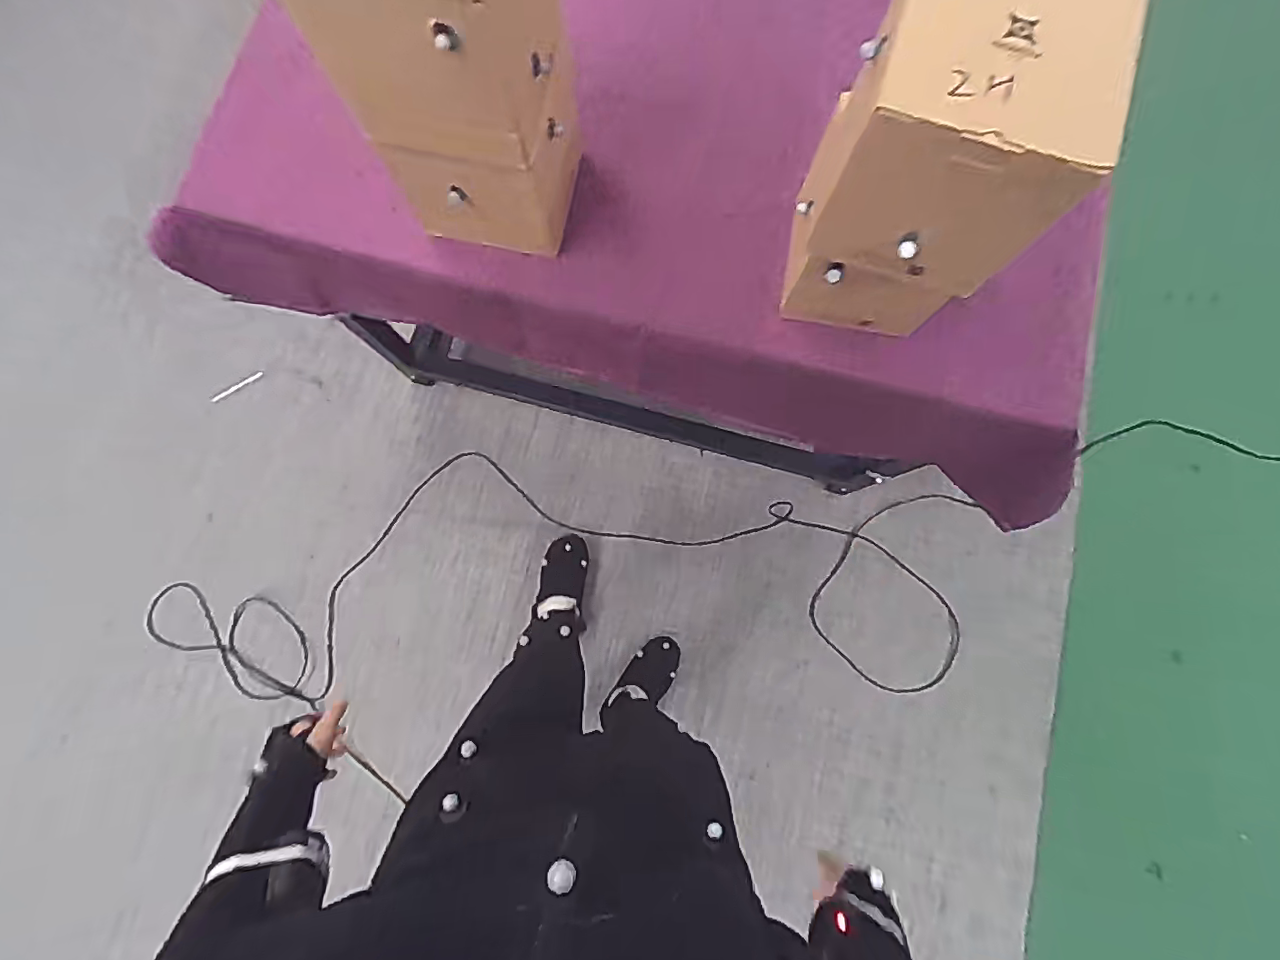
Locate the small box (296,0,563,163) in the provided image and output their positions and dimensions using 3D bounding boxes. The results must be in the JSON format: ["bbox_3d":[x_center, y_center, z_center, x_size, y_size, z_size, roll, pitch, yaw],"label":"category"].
[{"bbox_3d":[-0.178,-0.422,0.484,0.179,0.176,0.168,12,80,1],"label":"small box"}]

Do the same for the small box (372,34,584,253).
[{"bbox_3d":[-0.176,-0.399,0.645,0.179,0.176,0.168,12,81,2],"label":"small box"}]

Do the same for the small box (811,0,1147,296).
[{"bbox_3d":[0.263,-0.293,0.458,0.168,0.176,0.179,18,80,4],"label":"small box"}]
